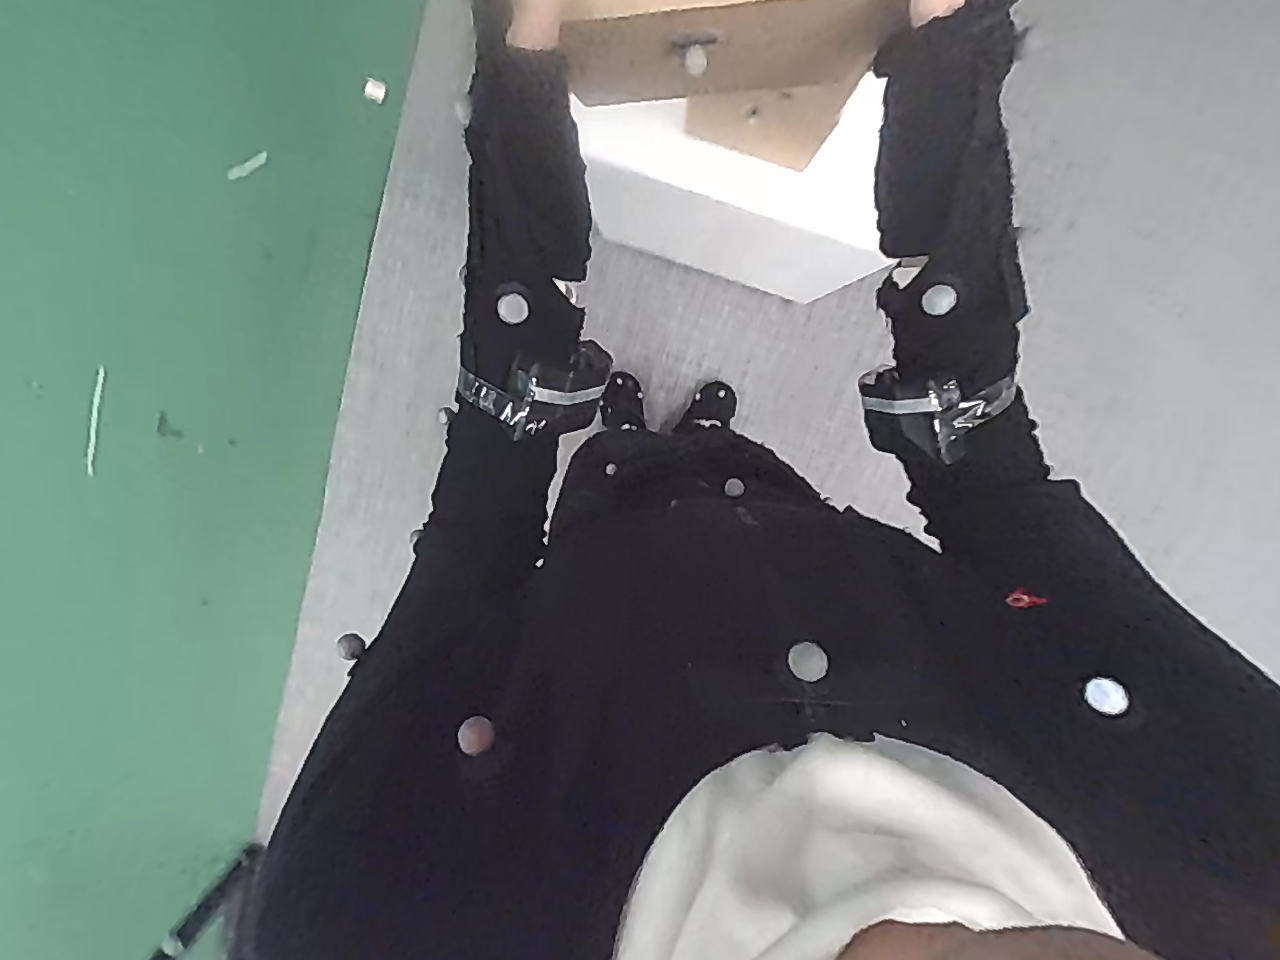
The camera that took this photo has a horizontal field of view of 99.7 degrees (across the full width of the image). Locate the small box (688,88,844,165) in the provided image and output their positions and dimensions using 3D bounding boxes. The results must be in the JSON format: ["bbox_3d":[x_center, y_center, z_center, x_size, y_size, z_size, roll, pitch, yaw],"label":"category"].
[{"bbox_3d":[0.163,-0.509,0.648,0.179,0.176,0.168,18,103,-1],"label":"small box"}]

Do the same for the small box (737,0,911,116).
[{"bbox_3d":[0.158,-0.478,0.490,0.168,0.176,0.179,17,103,-1],"label":"small box"}]

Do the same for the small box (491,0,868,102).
[{"bbox_3d":[0.025,-0.301,0.259,0.179,0.176,0.168,-2,115,6],"label":"small box"}]
